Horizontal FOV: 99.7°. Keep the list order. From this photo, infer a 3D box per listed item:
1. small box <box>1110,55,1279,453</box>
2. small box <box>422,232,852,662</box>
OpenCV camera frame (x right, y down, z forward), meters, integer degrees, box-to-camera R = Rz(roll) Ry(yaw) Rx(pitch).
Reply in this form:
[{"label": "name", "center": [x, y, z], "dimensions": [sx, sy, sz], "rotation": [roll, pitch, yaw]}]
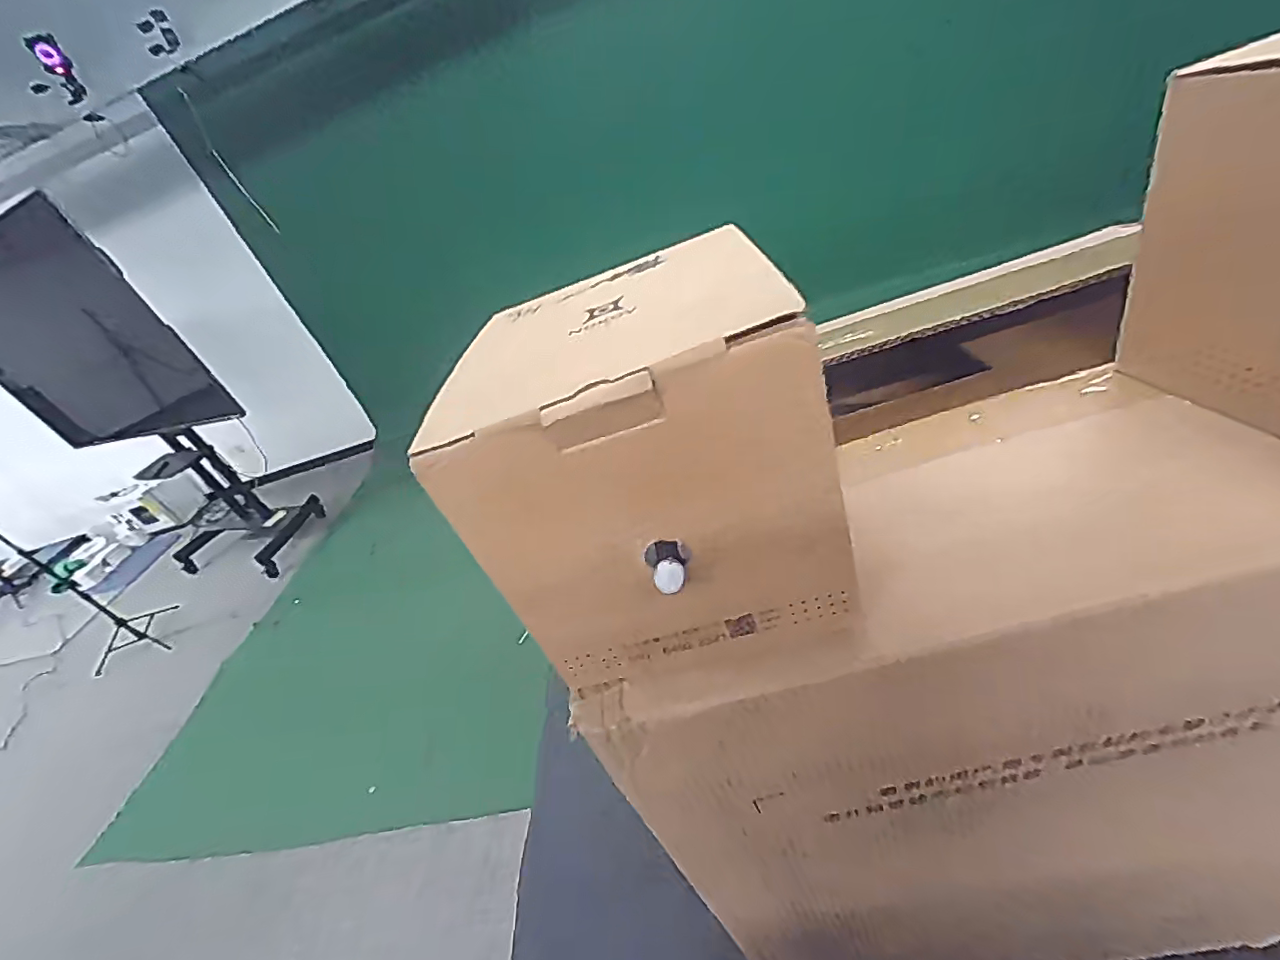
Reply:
[{"label": "small box", "center": [0.377, -0.112, 0.247], "dimensions": [0.168, 0.176, 0.179], "rotation": [-18, 33, 1]}, {"label": "small box", "center": [0.011, -0.015, 0.318], "dimensions": [0.168, 0.176, 0.179], "rotation": [-16, 34, 10]}]
